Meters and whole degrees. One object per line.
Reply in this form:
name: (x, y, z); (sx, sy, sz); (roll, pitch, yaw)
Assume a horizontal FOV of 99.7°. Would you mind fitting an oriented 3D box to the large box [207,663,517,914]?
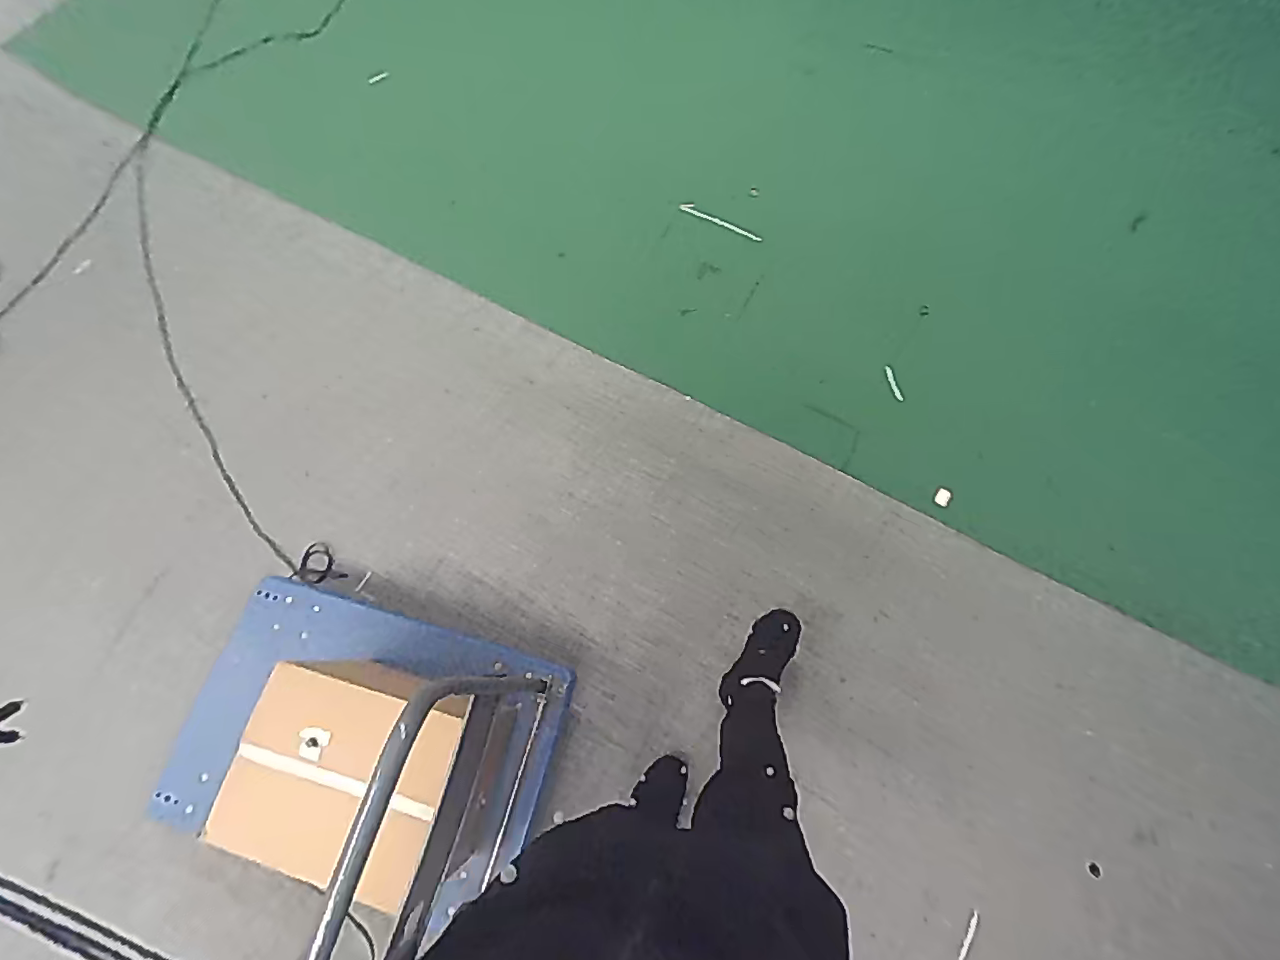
large box: (-0.520, 0.580, 1.099); (0.408, 0.320, 0.320); (13, 72, 9)
